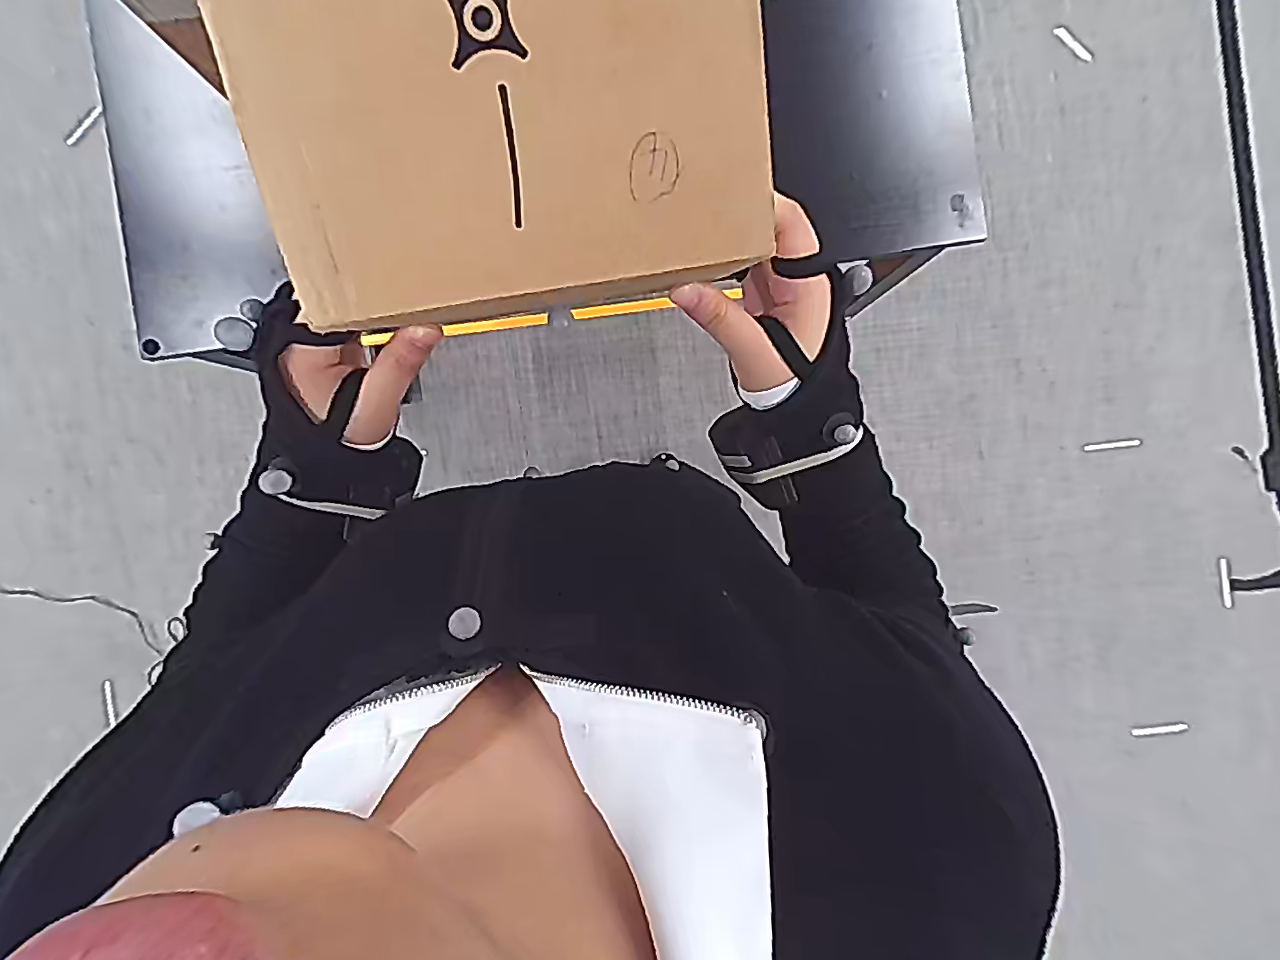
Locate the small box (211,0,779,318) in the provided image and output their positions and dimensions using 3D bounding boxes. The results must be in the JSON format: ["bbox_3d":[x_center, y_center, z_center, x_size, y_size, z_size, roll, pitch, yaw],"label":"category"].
[{"bbox_3d":[-0.048,-0.171,0.236,0.168,0.176,0.179,-8,107,0],"label":"small box"}]
